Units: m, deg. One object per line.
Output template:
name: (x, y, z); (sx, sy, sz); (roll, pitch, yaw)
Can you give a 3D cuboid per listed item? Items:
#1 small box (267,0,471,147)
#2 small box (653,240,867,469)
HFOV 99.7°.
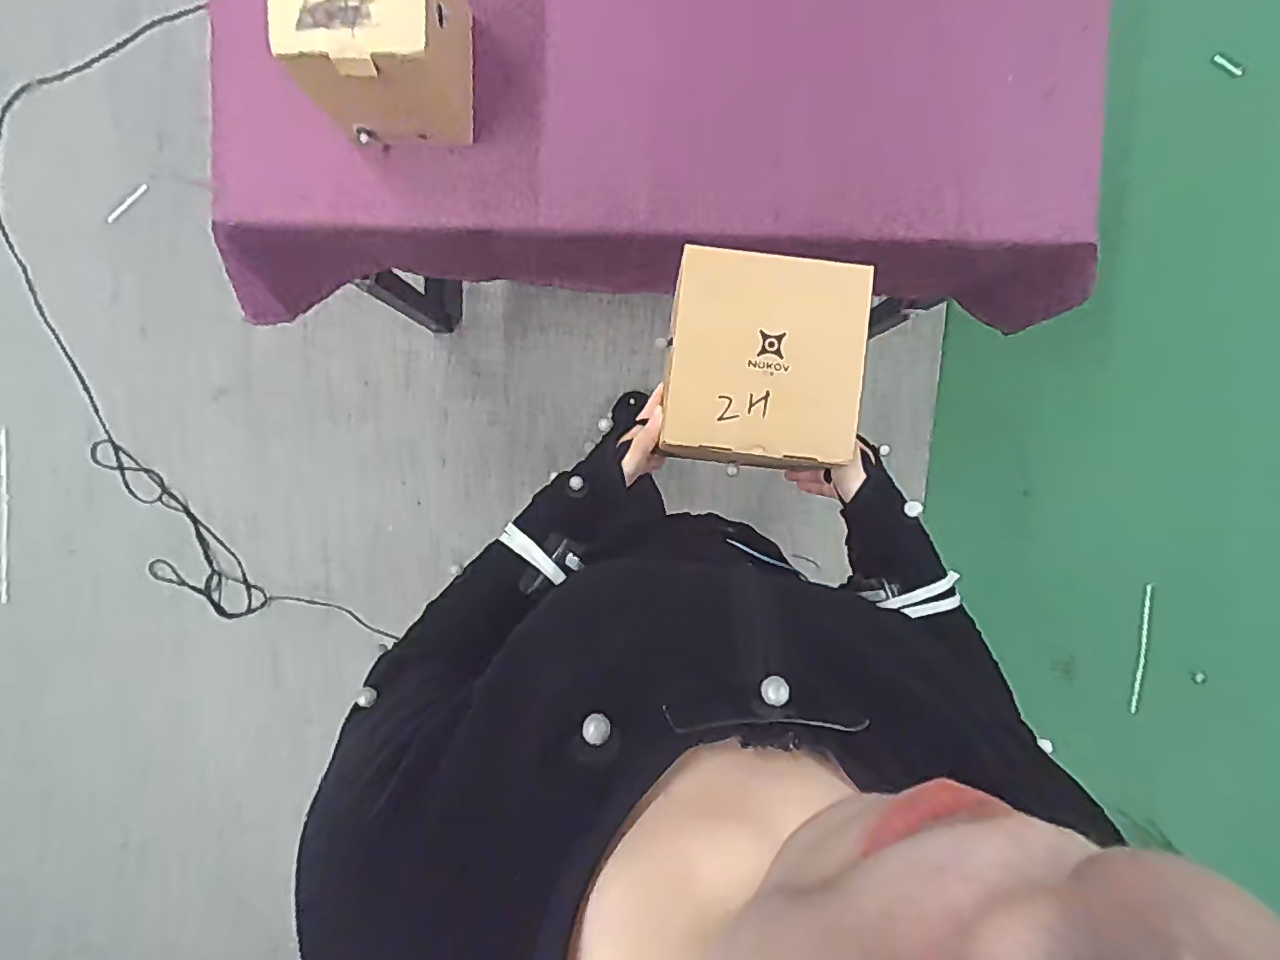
small box: (-0.307, -0.529, 0.645); (0.168, 0.176, 0.179); (0, 92, -1)
small box: (0.105, -0.110, 0.545); (0.168, 0.176, 0.179); (7, 89, 0)
